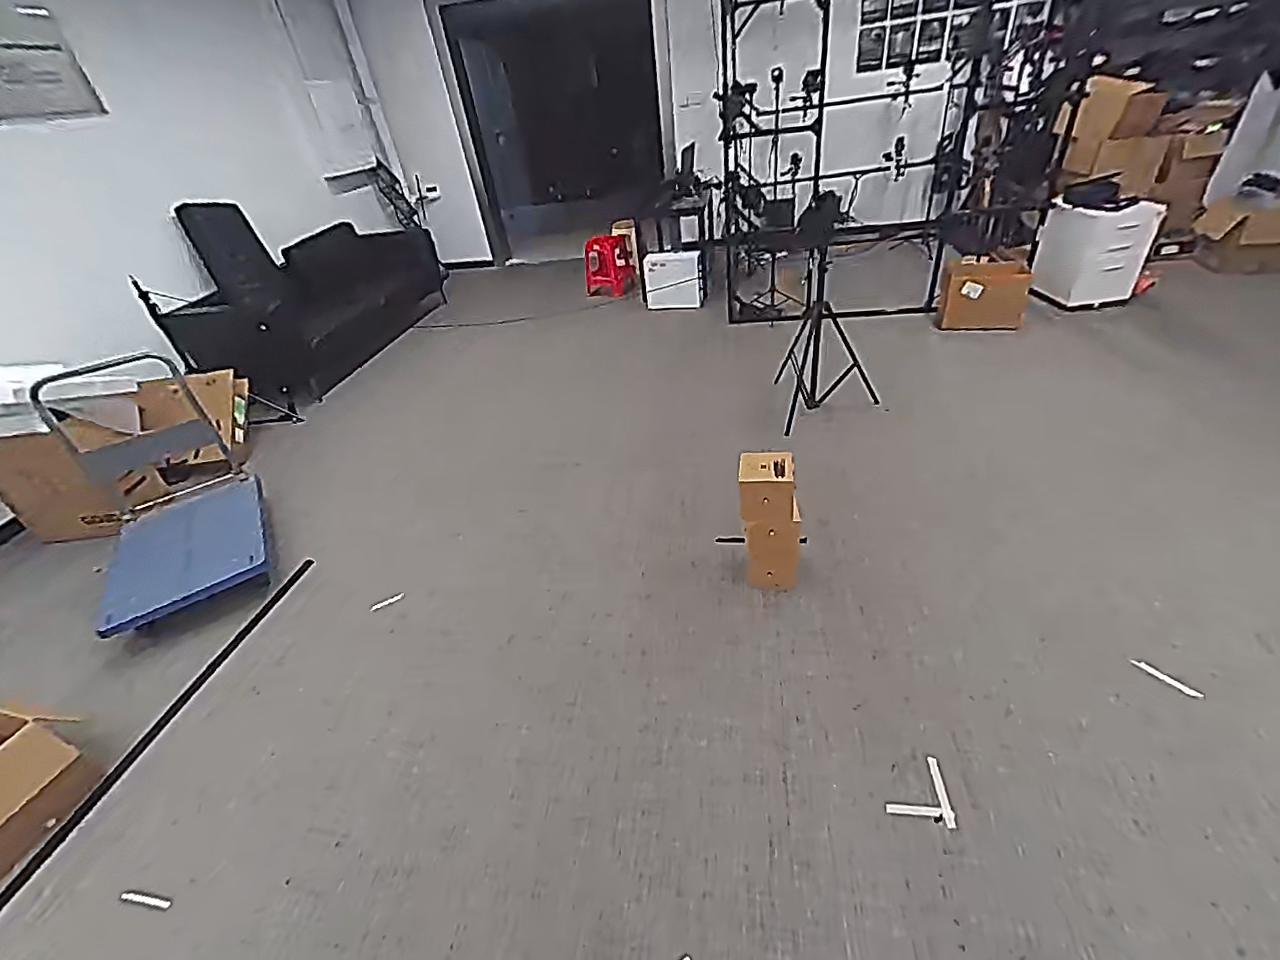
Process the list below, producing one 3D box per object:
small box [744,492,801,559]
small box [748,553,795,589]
[{"bbox_3d":[0.464,0.162,1.912,0.179,0.176,0.168,-5,36,8],"label":"small box"},{"bbox_3d":[0.491,0.287,2.013,0.168,0.176,0.179,2,36,14],"label":"small box"}]
